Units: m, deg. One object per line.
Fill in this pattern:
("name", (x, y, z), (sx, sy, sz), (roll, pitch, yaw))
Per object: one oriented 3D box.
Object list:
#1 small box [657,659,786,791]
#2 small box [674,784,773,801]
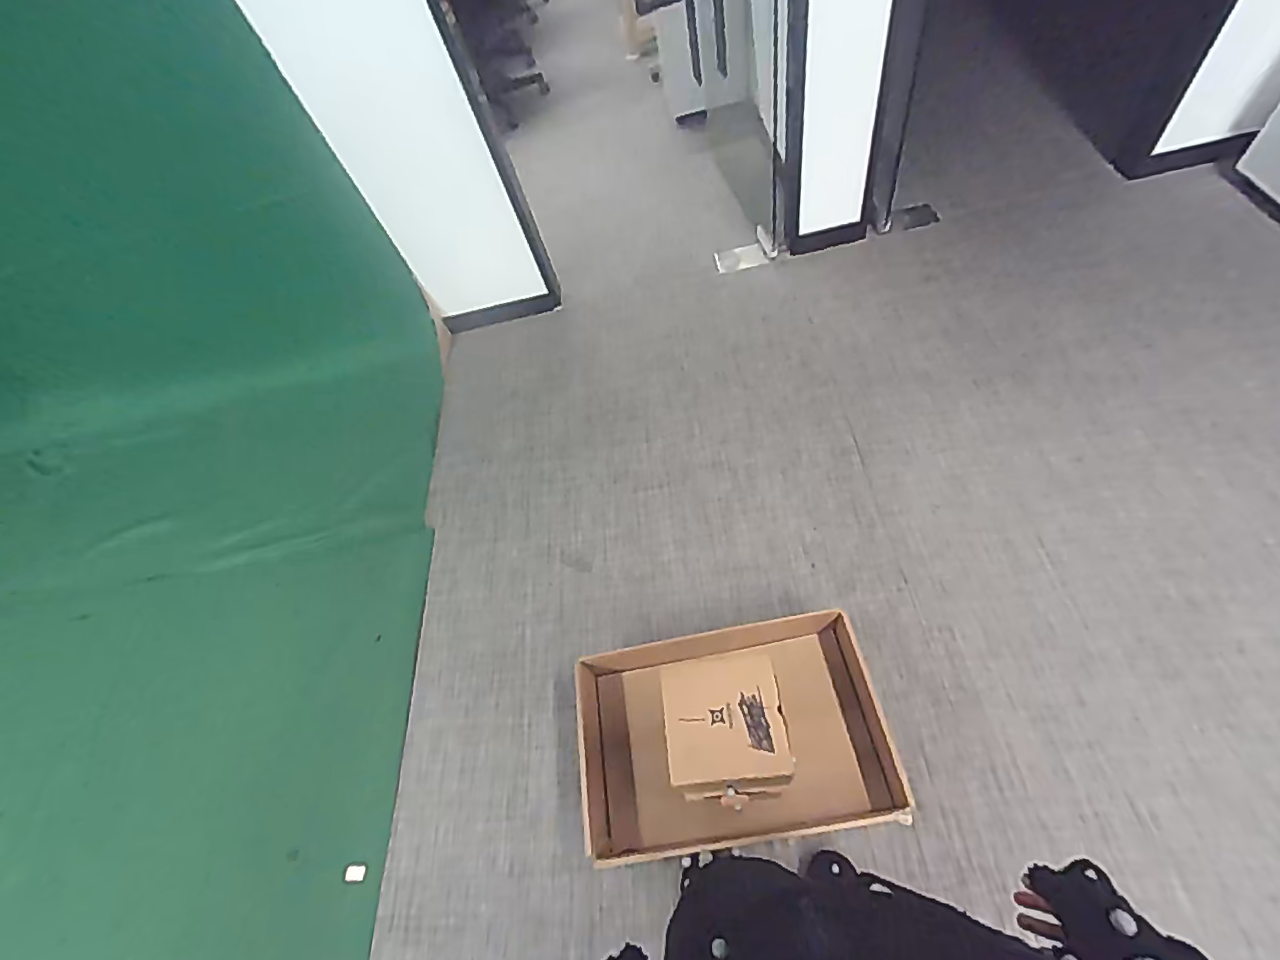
("small box", (0.129, 0.399, 0.872), (0.179, 0.176, 0.168), (-9, 55, 7))
("small box", (0.147, 0.484, 0.993), (0.168, 0.176, 0.179), (-9, 57, 6))
